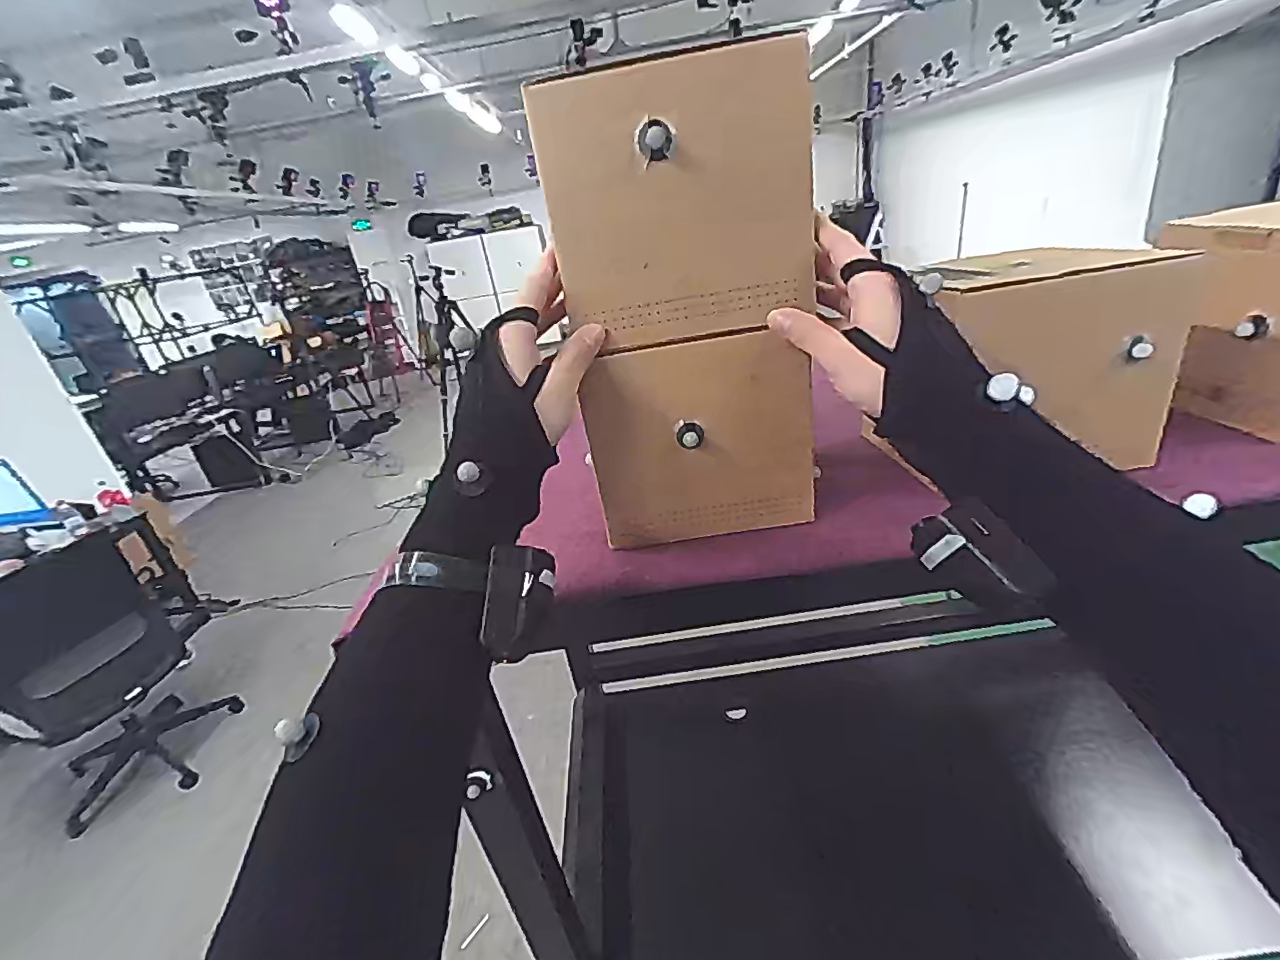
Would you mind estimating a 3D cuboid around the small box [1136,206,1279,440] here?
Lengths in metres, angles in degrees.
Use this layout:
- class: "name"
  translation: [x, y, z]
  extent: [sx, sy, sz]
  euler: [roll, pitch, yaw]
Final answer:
- class: "small box"
  translation: [0.593, -0.145, 0.475]
  extent: [0.179, 0.176, 0.168]
  euler: [-8, 27, 3]

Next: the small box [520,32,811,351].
- class: "small box"
  translation: [0.027, -0.206, 0.424]
  extent: [0.179, 0.176, 0.168]
  euler: [-7, 25, 5]
